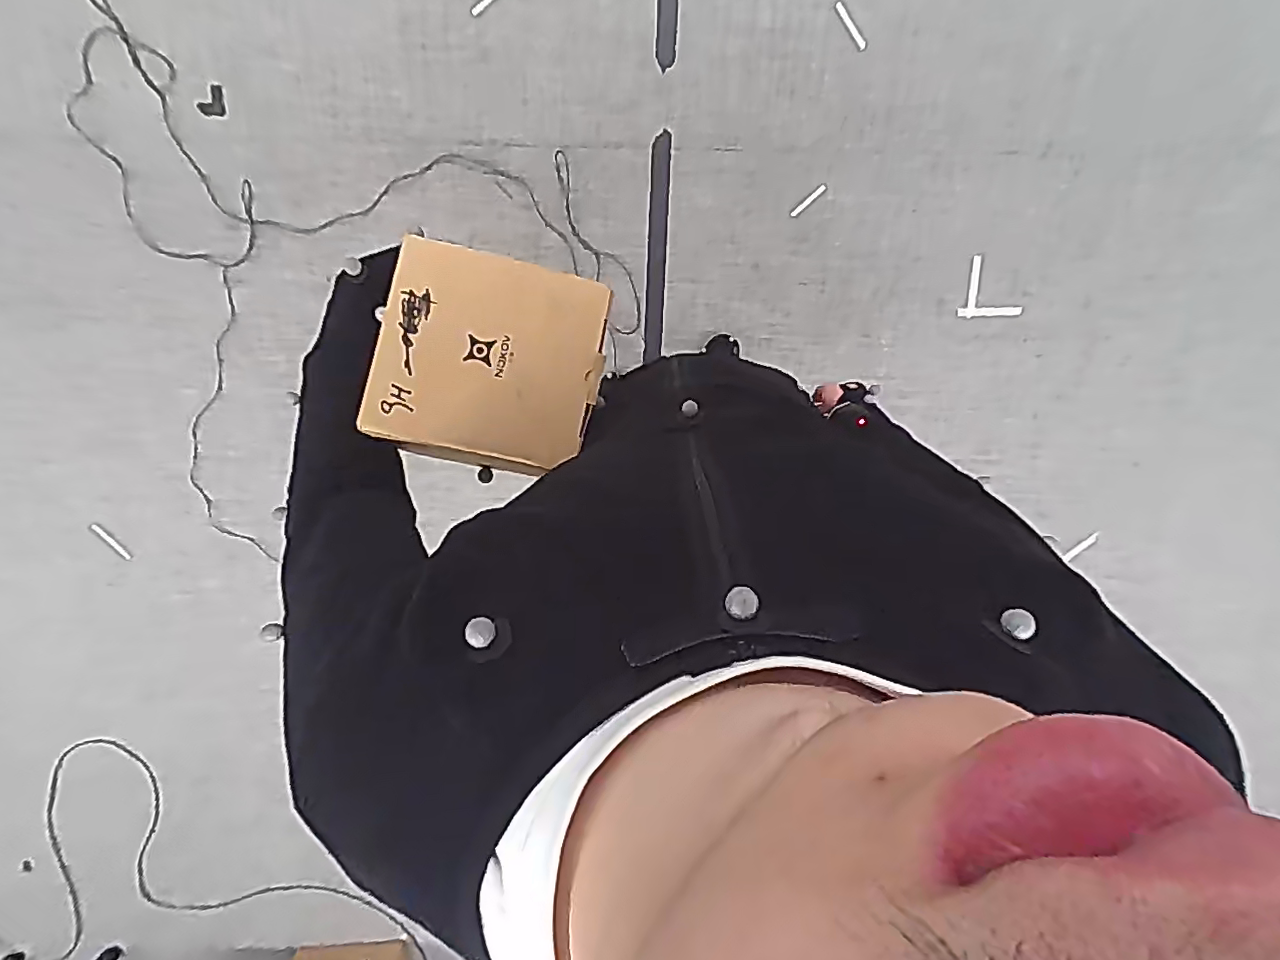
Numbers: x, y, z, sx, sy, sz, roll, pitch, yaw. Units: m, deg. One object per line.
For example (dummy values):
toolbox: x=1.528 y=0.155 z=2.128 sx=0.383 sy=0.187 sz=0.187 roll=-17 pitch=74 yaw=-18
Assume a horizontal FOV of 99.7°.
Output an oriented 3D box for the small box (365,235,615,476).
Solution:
small box: x=-0.133 y=-0.101 z=0.527 sx=0.179 sy=0.176 sz=0.168 roll=11 pitch=84 yaw=-8
